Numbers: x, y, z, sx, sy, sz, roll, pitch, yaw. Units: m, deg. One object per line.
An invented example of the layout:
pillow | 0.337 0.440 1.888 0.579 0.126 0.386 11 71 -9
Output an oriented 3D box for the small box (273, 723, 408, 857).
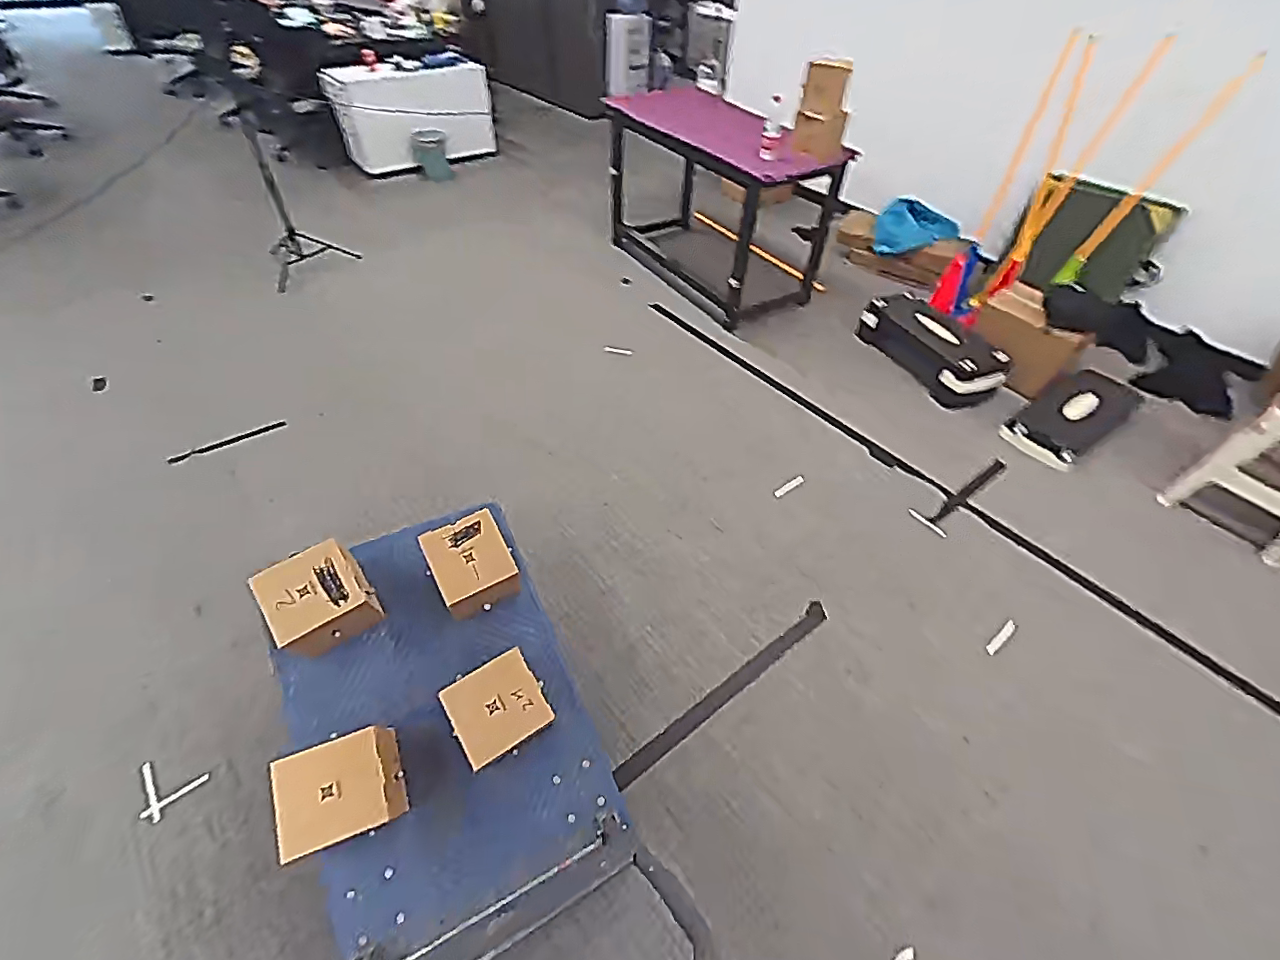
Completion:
small box | -0.565 0.586 1.035 0.179 0.176 0.168 -15 67 -19

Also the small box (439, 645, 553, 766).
small box | -0.296 0.477 1.140 0.179 0.176 0.168 -27 72 -22

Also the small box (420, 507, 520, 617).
small box | -0.391 0.197 1.263 0.168 0.176 0.179 -24 71 -21
